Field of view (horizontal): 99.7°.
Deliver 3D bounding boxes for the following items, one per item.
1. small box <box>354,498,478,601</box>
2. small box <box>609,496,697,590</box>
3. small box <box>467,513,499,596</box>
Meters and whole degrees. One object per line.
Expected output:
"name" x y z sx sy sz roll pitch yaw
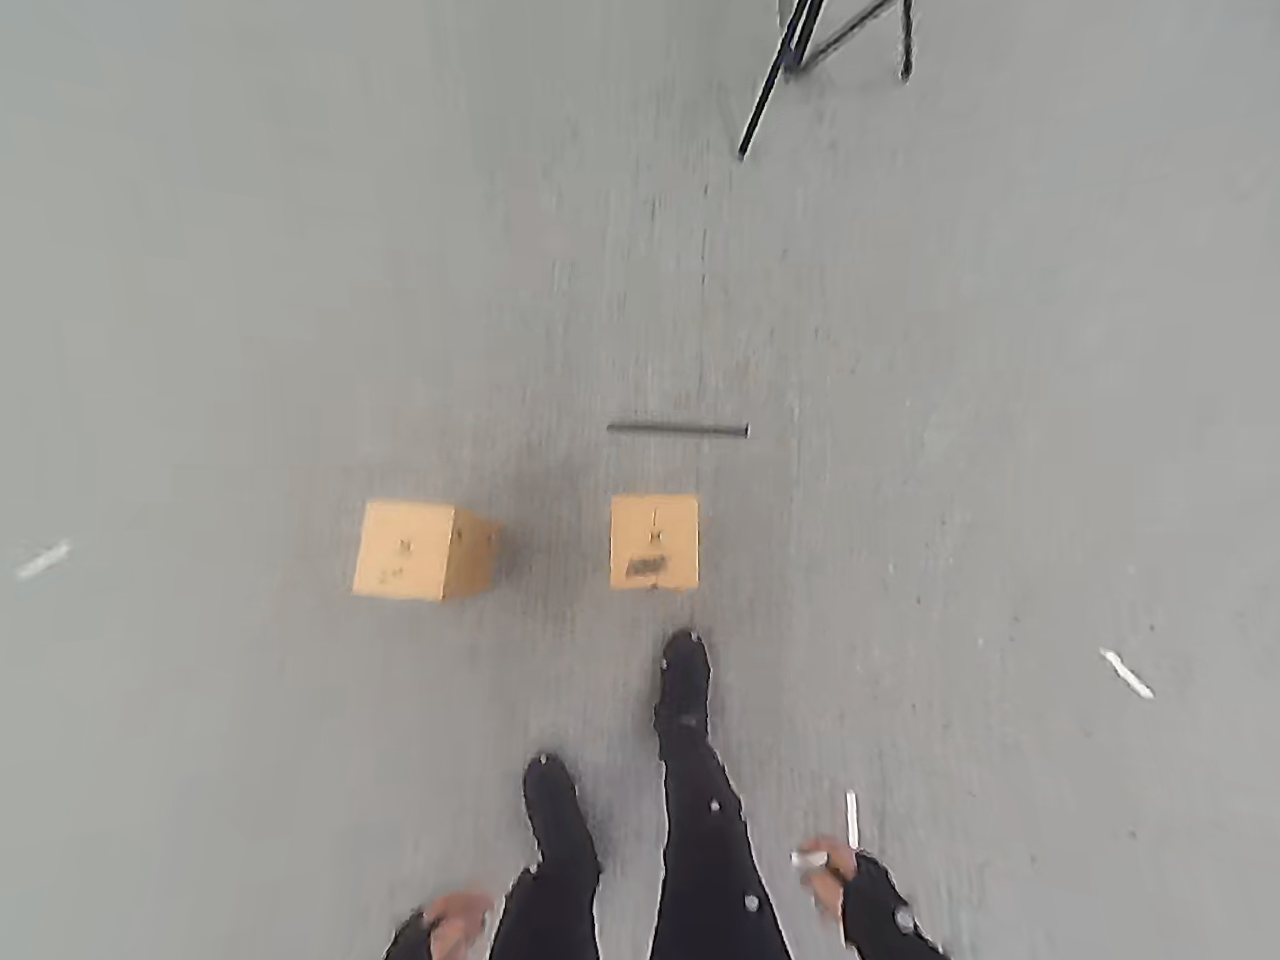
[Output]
"small box" -0.431 0.141 1.071 0.168 0.176 0.179 5 80 0
"small box" 0.023 0.132 1.092 0.168 0.176 0.179 1 78 -2
"small box" -0.428 0.168 1.233 0.168 0.176 0.179 6 79 0
